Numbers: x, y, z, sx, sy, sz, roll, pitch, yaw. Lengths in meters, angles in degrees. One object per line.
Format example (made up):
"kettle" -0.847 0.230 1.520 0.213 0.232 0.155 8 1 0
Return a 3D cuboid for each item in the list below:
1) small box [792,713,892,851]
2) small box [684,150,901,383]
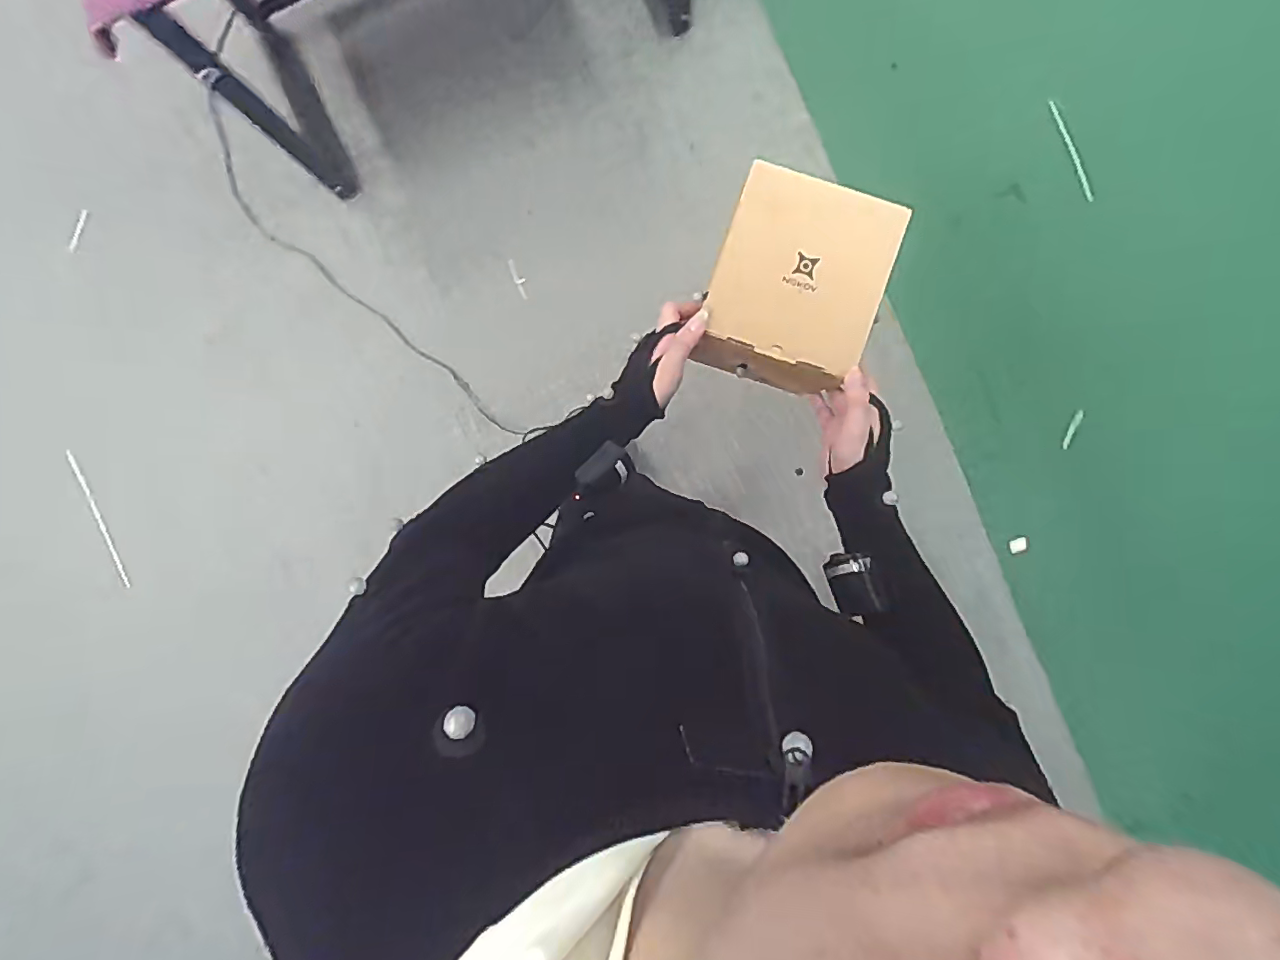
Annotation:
"small box" 0.439 0.626 1.133 0.168 0.176 0.179 -20 90 2
"small box" 0.153 -0.221 0.611 0.168 0.176 0.179 17 95 -1
